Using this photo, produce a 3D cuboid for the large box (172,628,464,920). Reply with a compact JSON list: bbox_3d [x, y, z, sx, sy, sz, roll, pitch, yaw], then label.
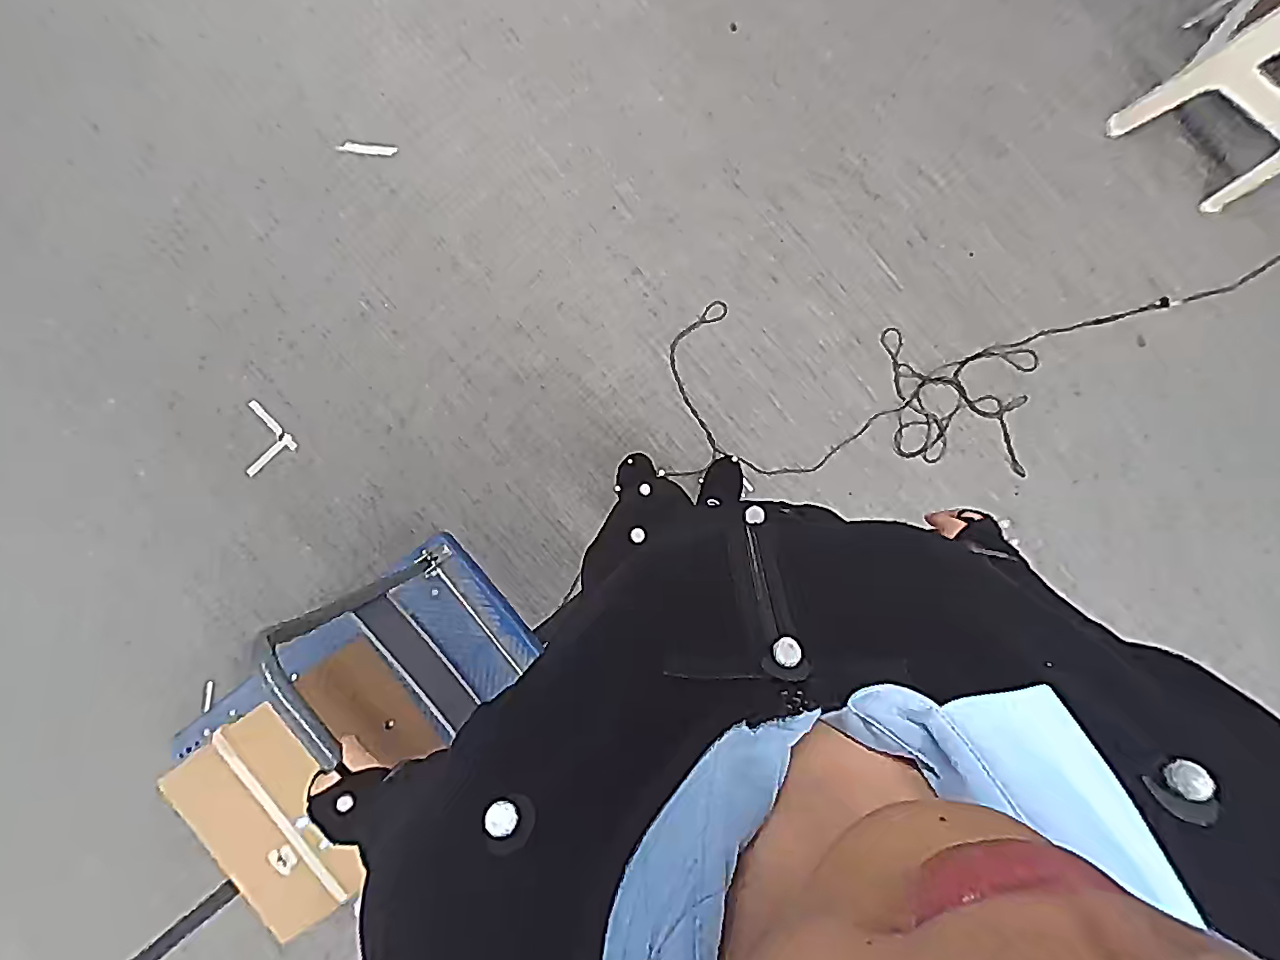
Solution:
[{"bbox_3d":[-0.671,0.612,1.198,0.320,0.320,0.408,-36,93,2],"label":"large box"}]
